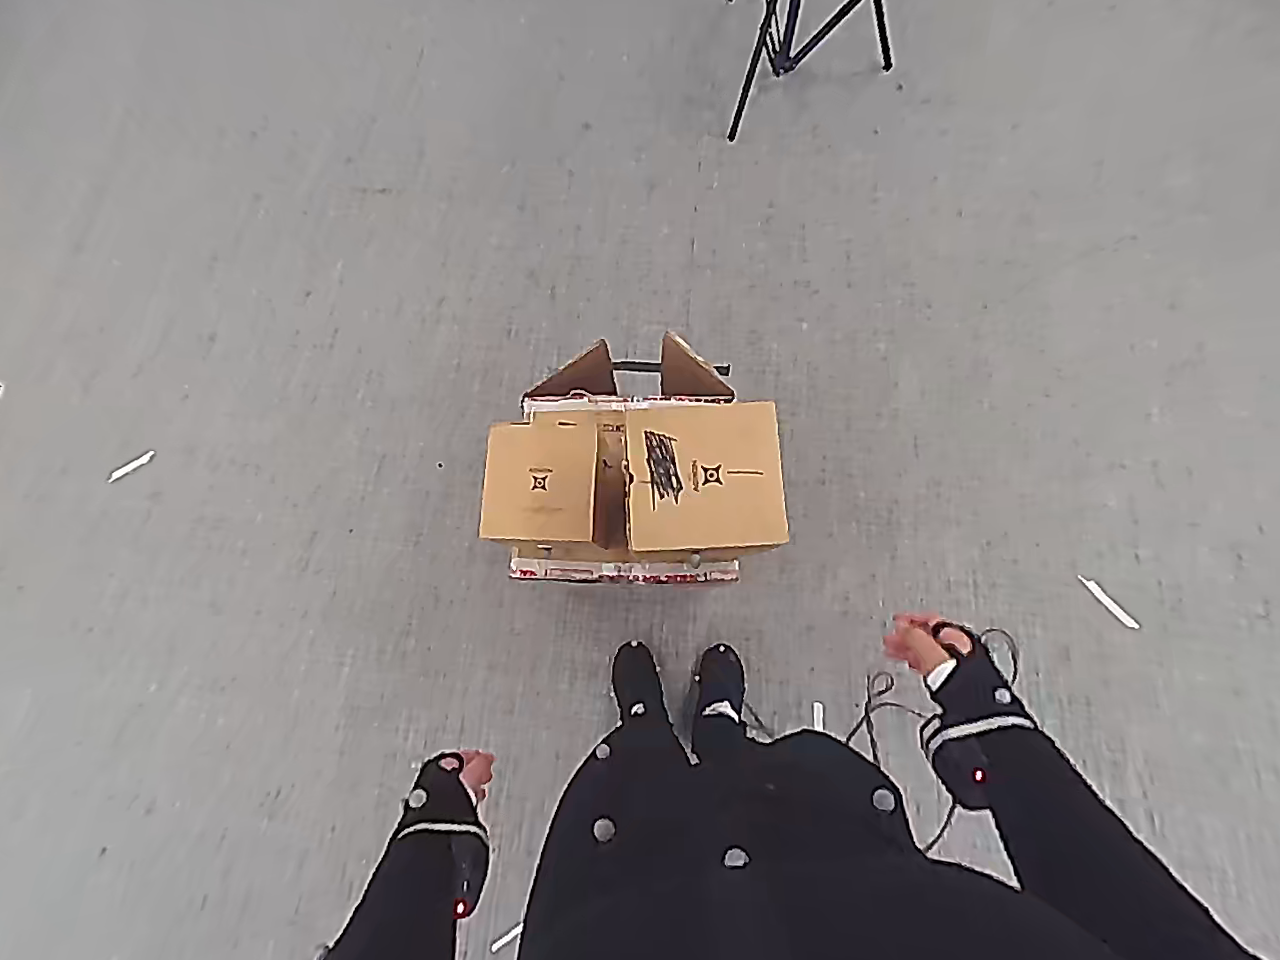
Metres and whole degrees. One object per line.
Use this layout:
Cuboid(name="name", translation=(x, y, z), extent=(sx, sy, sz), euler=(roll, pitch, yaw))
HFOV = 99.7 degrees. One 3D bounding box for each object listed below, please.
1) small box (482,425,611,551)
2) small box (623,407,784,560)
Cuboid(name="small box", translation=(-0.140, 0.020, 0.871), extent=(0.168, 0.176, 0.179), euler=(1, 80, 5))
Cuboid(name="small box", translation=(0.074, 0.013, 0.693), extent=(0.179, 0.176, 0.168), euler=(-3, 79, 1))
